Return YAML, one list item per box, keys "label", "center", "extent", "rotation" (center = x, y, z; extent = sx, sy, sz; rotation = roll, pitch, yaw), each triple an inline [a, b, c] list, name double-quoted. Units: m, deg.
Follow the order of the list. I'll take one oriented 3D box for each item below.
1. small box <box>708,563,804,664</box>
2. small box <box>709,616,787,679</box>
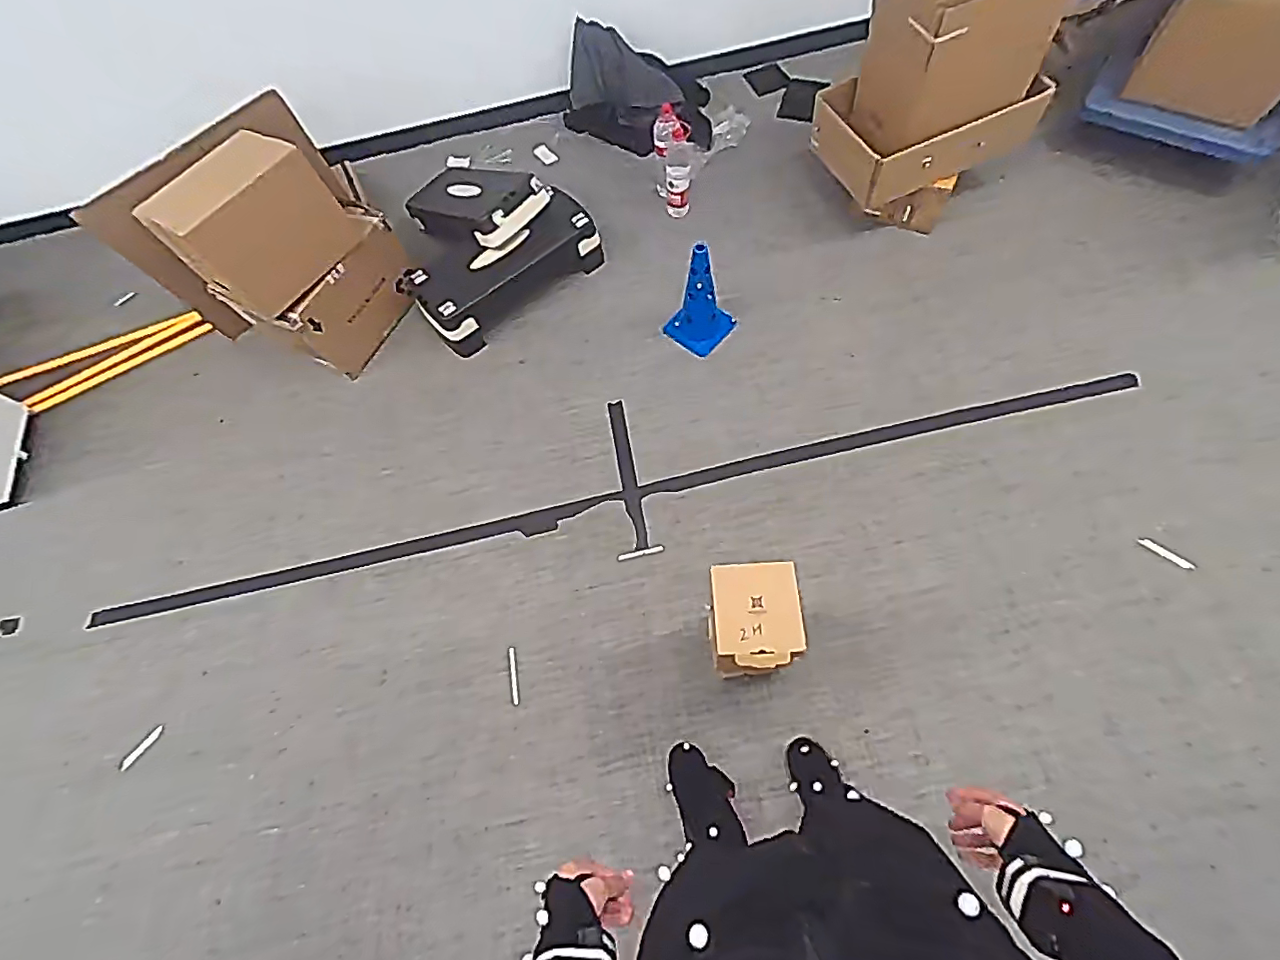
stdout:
- label: "small box"
  center: [0.229, 0.279, 1.112]
  extent: [0.168, 0.176, 0.179]
  rotation: [-3, 67, 4]
- label: "small box"
  center: [0.275, 0.419, 1.408]
  extent: [0.168, 0.176, 0.179]
  rotation: [-9, 66, 2]
